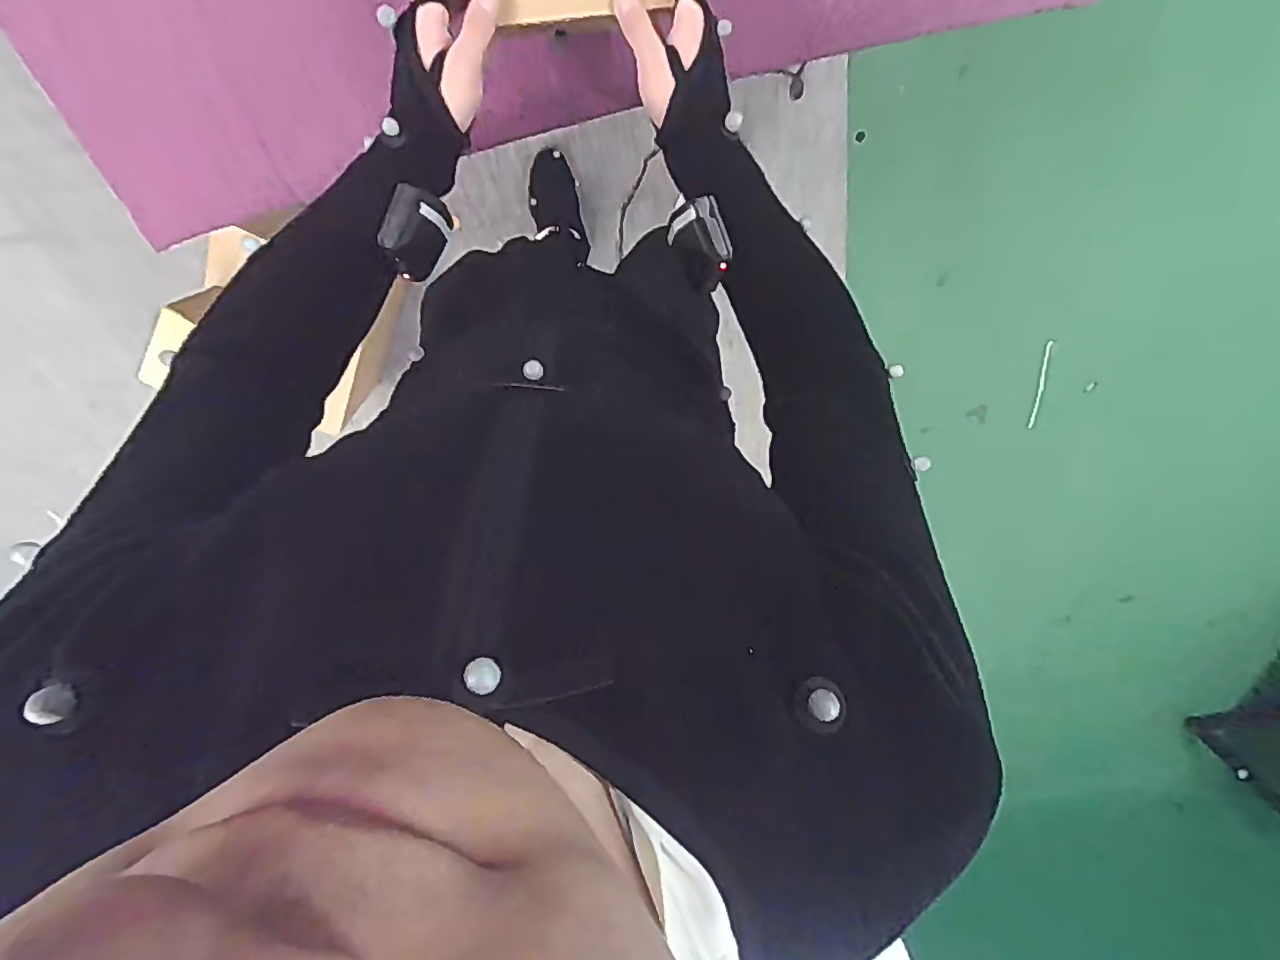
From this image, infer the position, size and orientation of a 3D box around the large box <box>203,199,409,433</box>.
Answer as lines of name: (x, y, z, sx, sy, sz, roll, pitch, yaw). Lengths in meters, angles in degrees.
large box: (-0.797, -0.394, 1.305, 0.320, 0.320, 0.408, 20, 118, -19)

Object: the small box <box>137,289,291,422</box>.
small box: (-0.851, -0.255, 1.097, 0.168, 0.176, 0.179, 33, 114, -22)

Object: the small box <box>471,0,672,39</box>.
small box: (-0.070, -0.495, 0.454, 0.168, 0.176, 0.179, -8, 127, -2)
